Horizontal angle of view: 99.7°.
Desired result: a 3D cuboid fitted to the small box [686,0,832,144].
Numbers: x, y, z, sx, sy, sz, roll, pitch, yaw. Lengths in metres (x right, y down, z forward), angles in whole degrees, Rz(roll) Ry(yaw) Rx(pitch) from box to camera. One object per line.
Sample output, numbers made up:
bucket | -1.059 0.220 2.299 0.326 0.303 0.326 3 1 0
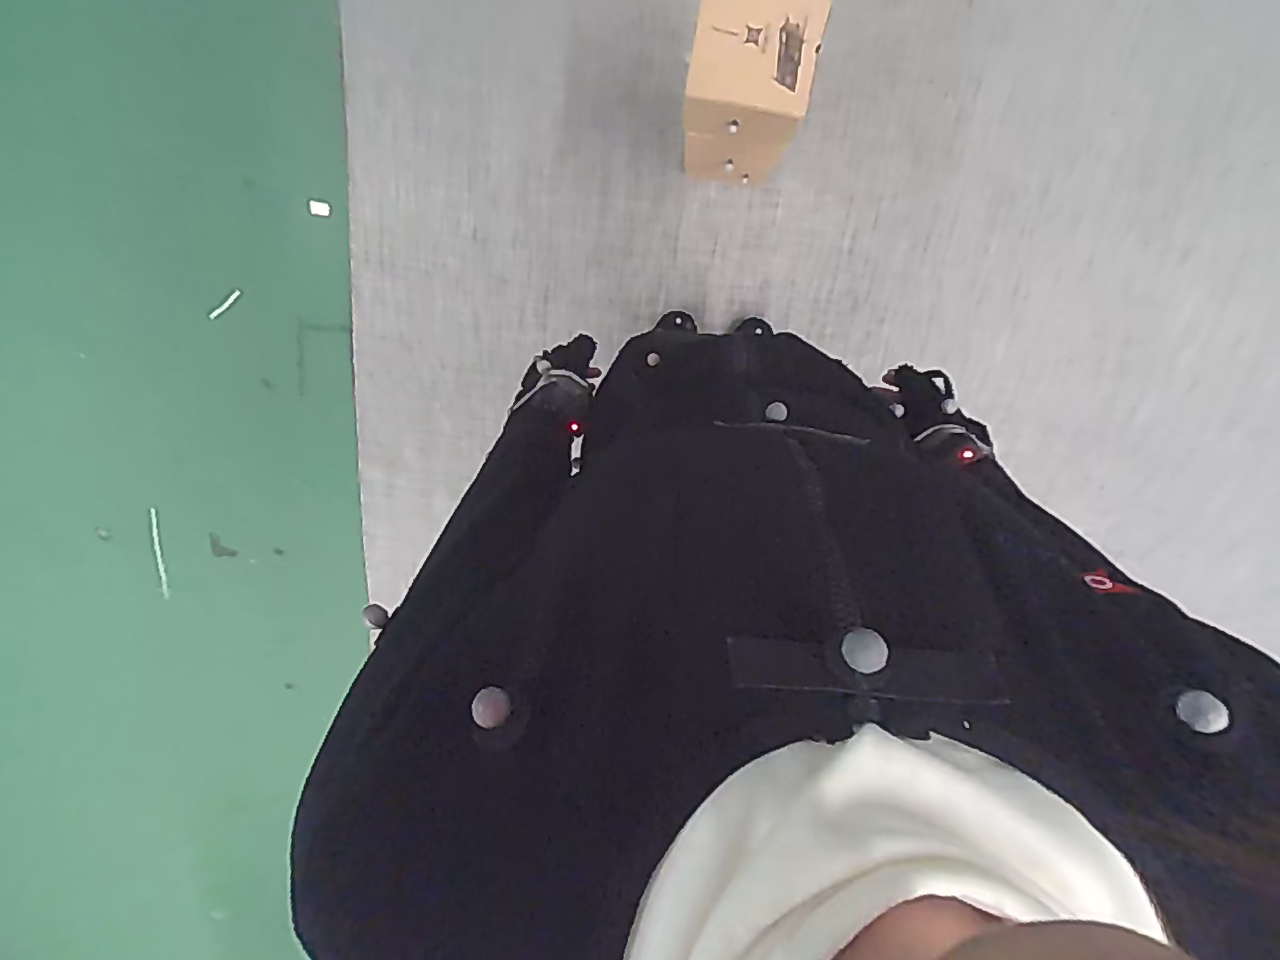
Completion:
small box | 0.170 -0.632 0.822 0.179 0.176 0.168 8 109 1

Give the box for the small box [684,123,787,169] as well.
small box | 0.181 -0.682 0.979 0.179 0.176 0.168 10 108 1

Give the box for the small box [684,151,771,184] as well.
small box | 0.192 -0.735 1.133 0.179 0.176 0.168 9 108 4
